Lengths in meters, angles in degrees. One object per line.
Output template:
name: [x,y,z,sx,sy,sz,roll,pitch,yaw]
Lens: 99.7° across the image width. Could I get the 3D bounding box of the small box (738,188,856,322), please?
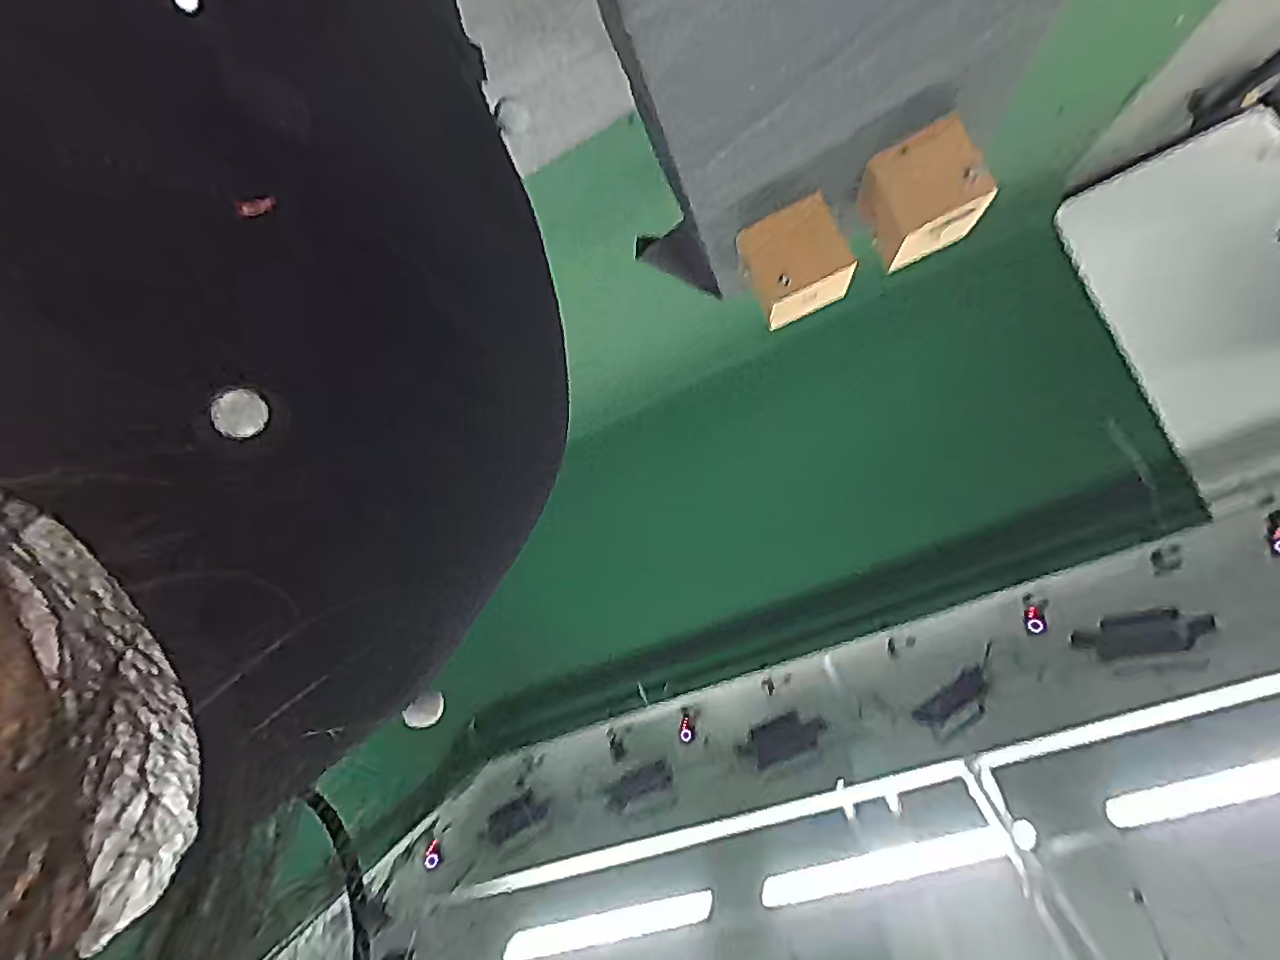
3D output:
small box: [0.320,-0.466,1.130,0.179,0.176,0.168,-24,174,11]
